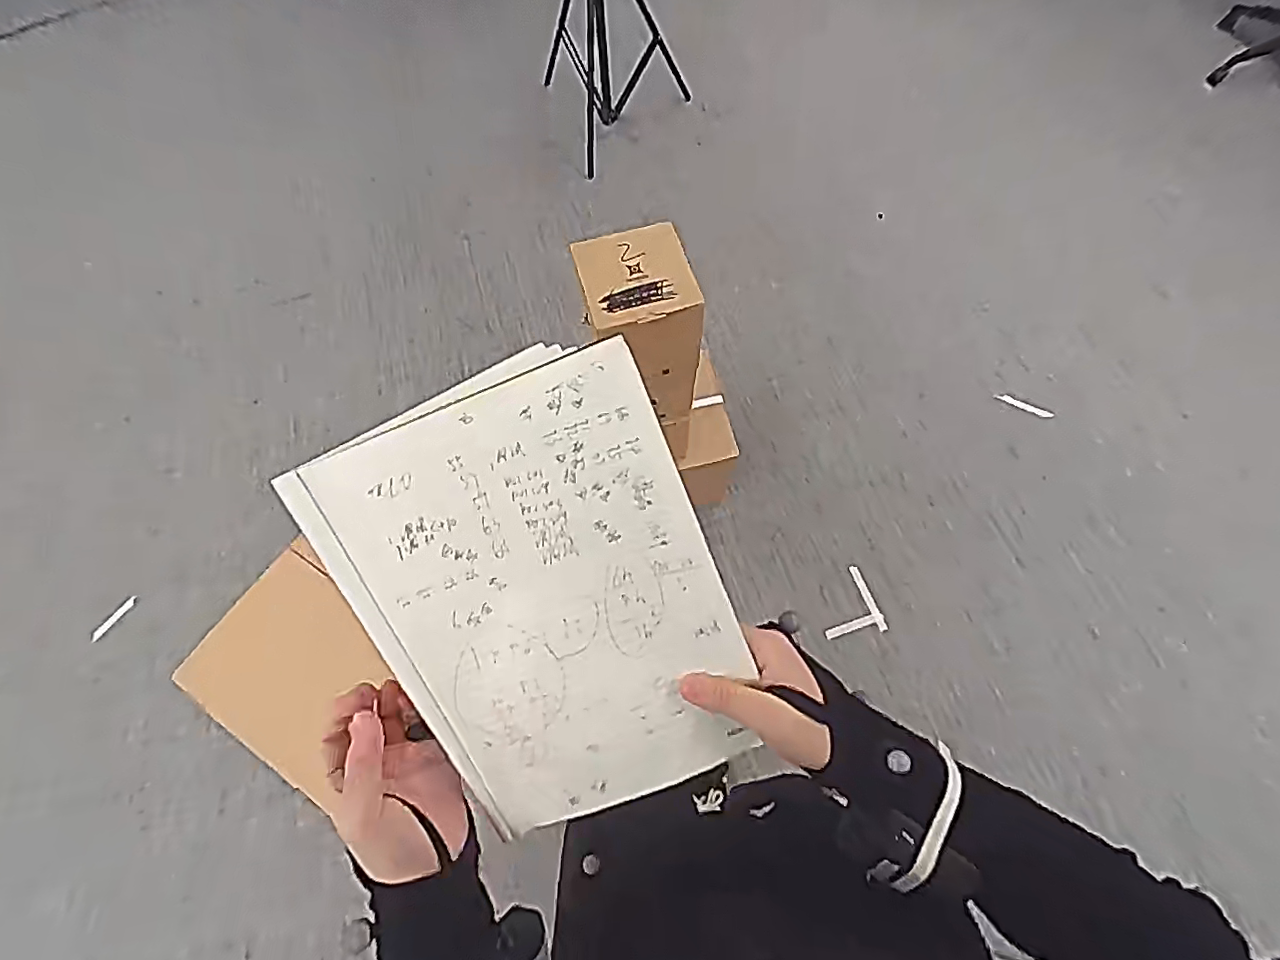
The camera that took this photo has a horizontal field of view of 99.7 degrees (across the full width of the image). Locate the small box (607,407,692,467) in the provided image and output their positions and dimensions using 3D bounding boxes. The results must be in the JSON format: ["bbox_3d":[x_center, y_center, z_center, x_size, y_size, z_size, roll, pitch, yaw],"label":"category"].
[{"bbox_3d":[0.016,-0.141,1.183,0.168,0.176,0.179,-11,67,-3],"label":"small box"}]

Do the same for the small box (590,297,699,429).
[{"bbox_3d":[0.008,-0.214,1.036,0.168,0.176,0.179,-13,68,-4],"label":"small box"}]
